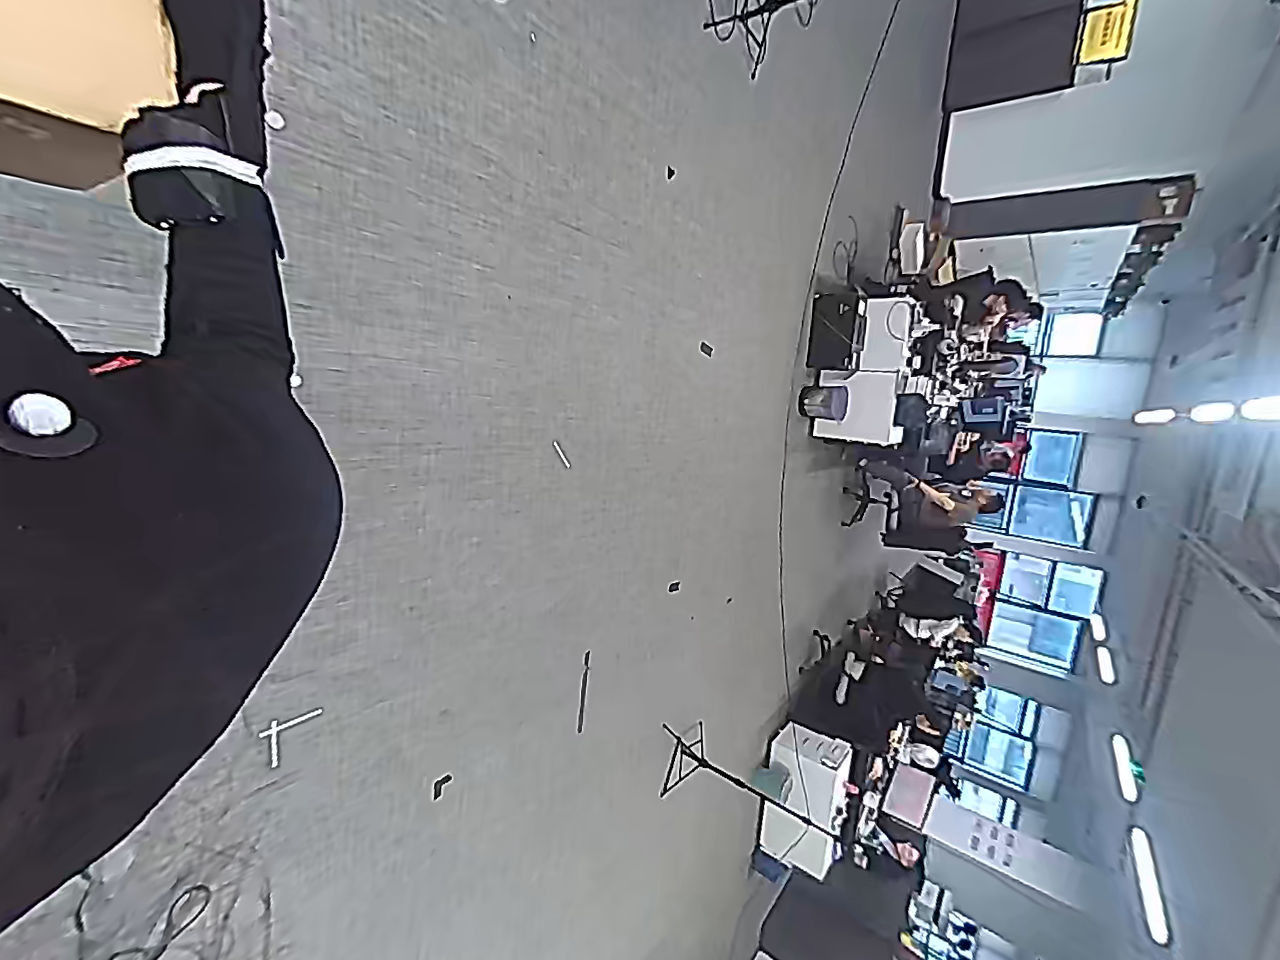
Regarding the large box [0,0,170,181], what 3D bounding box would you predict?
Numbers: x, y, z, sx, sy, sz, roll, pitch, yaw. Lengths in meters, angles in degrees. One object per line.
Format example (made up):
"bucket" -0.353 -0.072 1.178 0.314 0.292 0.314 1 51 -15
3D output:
"large box" -0.571 -0.404 0.293 0.408 0.320 0.320 -10 111 -54
